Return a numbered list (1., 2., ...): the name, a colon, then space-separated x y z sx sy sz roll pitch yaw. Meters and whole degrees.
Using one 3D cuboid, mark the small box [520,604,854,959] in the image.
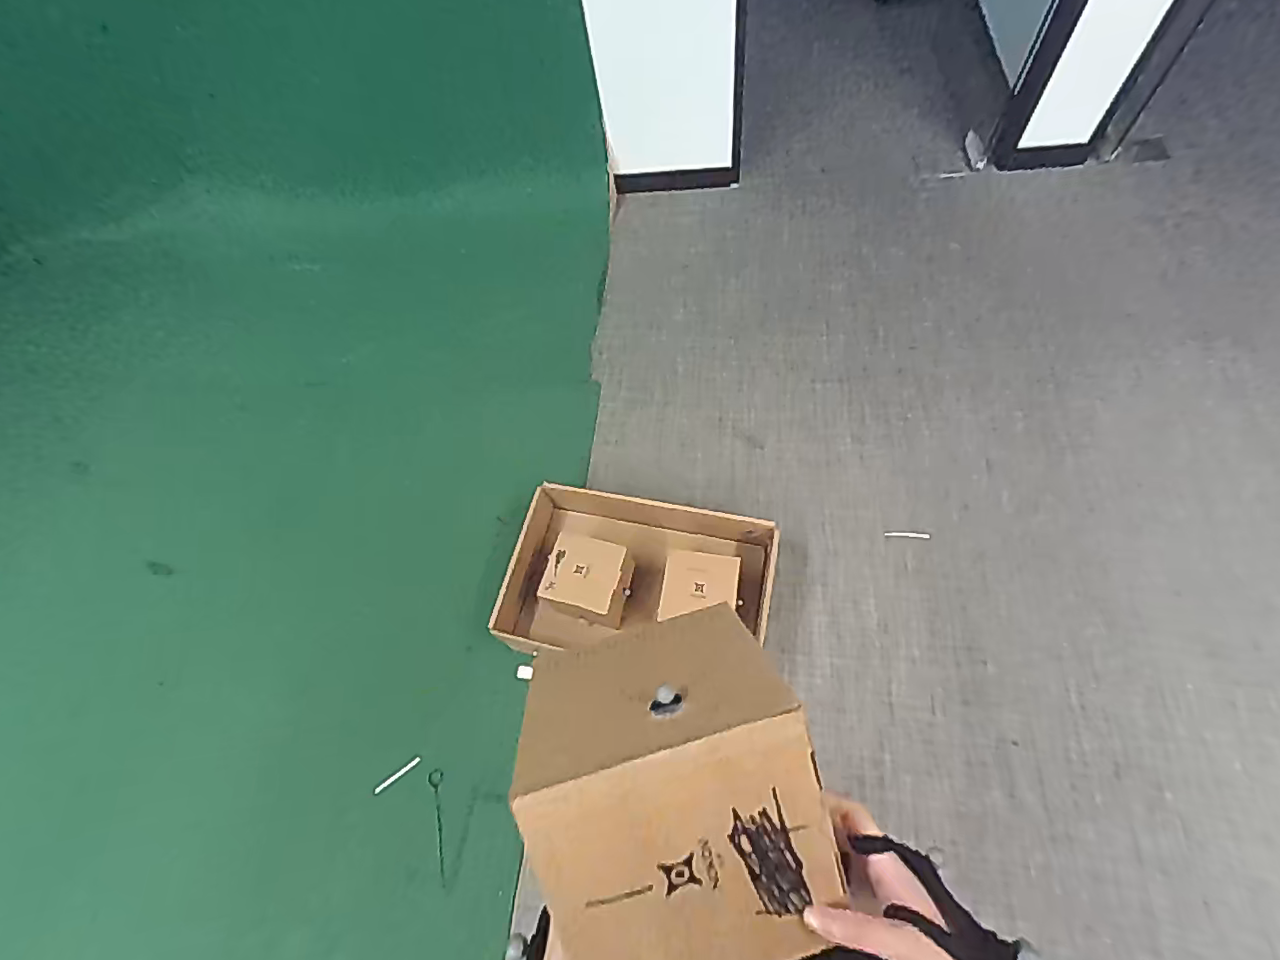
1. small box: 0.025 0.212 0.401 0.179 0.176 0.168 -16 99 -3
